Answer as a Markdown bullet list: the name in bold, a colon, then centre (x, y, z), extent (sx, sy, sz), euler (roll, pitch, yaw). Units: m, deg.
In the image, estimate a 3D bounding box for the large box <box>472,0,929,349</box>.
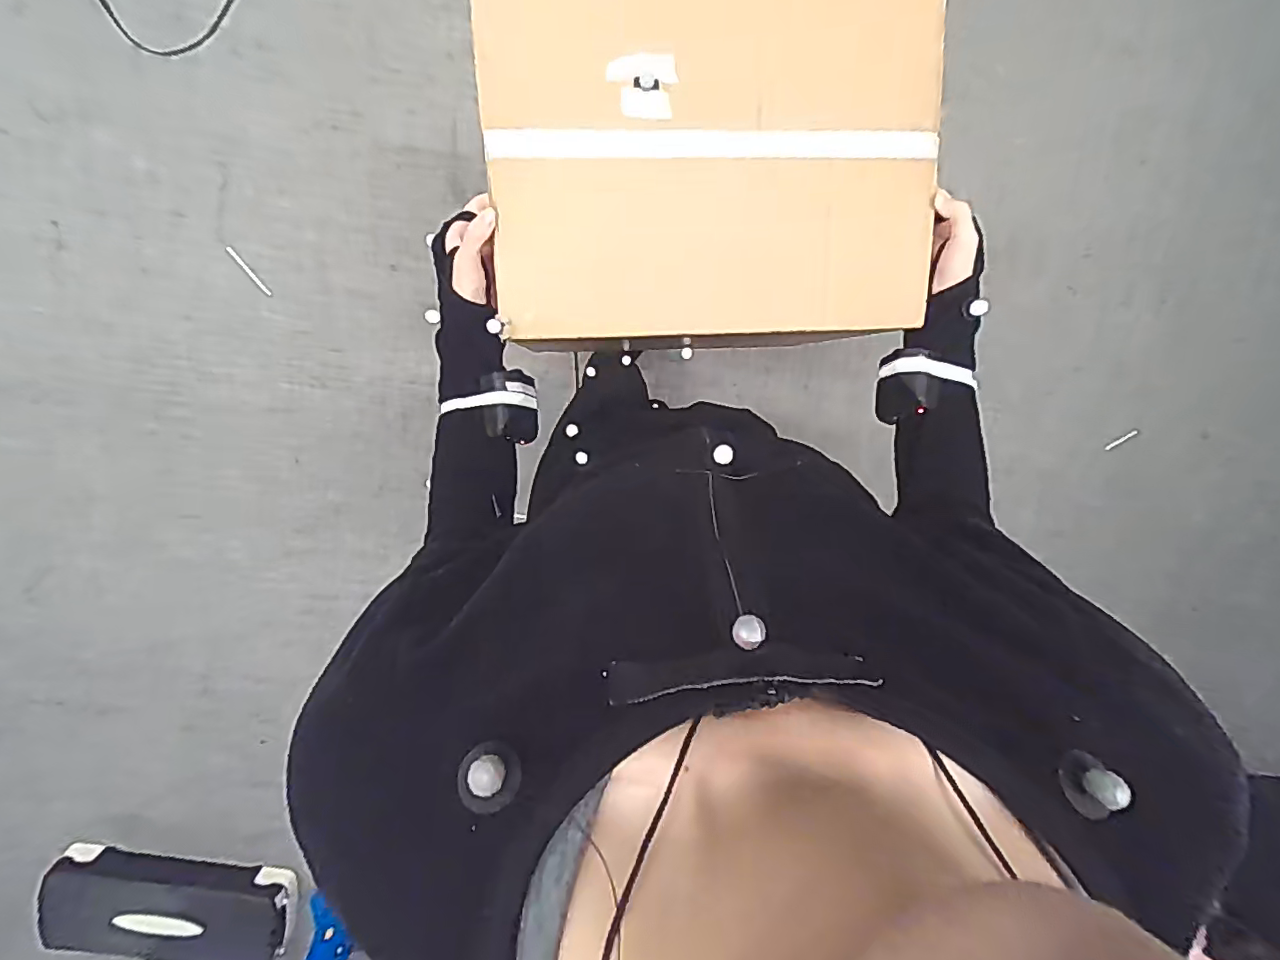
- **large box**: centre (0.052, -0.323, 0.632), extent (0.408, 0.320, 0.320), euler (-3, 101, -5)
